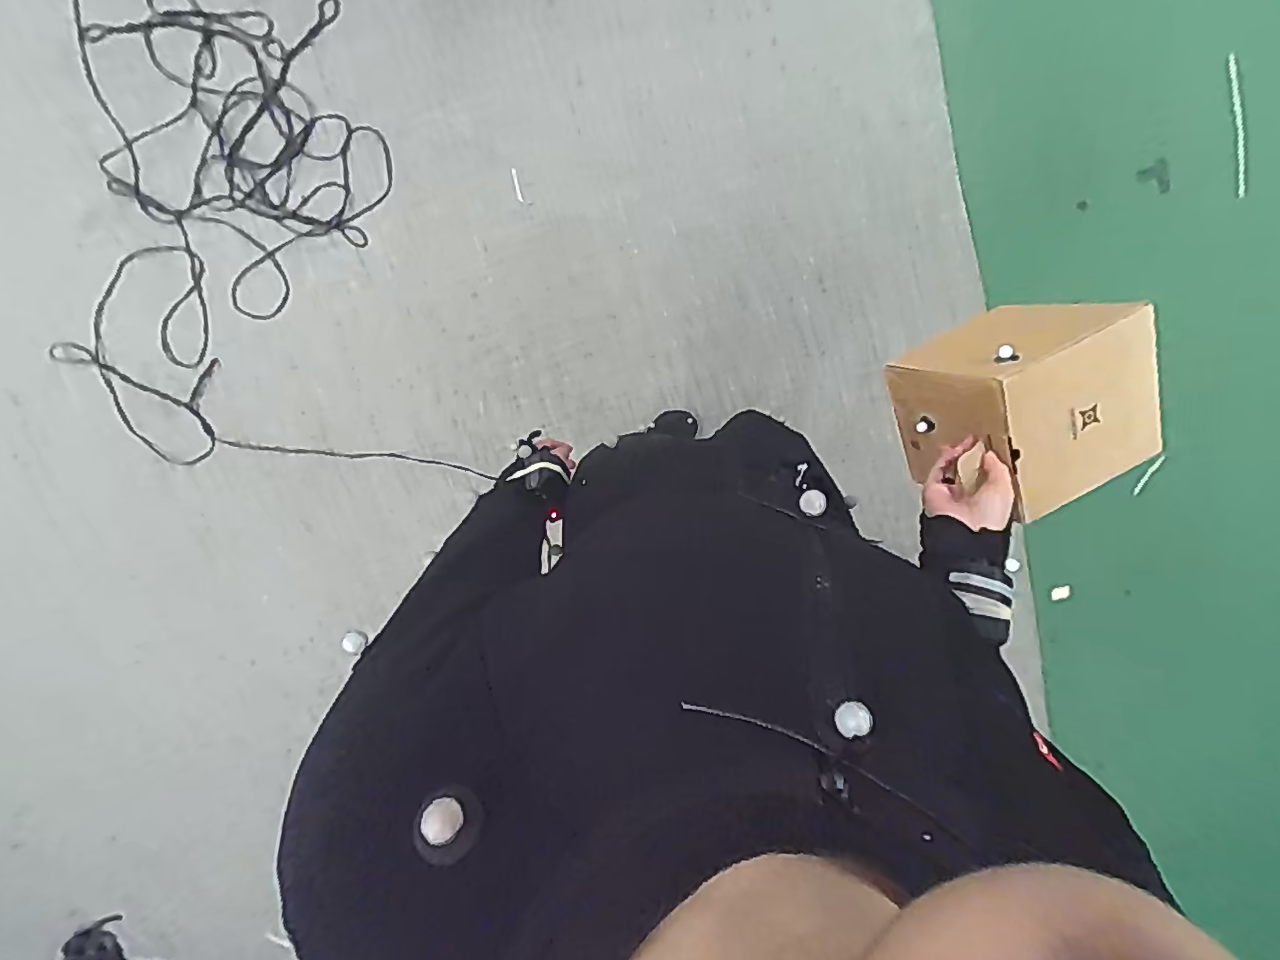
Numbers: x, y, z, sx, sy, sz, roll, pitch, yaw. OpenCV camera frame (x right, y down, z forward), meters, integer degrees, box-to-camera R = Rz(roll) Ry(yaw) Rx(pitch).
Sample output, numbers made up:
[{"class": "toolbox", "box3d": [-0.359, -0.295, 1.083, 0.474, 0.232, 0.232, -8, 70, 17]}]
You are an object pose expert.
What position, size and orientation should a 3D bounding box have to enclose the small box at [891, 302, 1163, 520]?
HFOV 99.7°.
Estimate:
[{"class": "small box", "box3d": [0.421, -0.088, 0.603, 0.179, 0.176, 0.168, -27, 111, -4]}]
